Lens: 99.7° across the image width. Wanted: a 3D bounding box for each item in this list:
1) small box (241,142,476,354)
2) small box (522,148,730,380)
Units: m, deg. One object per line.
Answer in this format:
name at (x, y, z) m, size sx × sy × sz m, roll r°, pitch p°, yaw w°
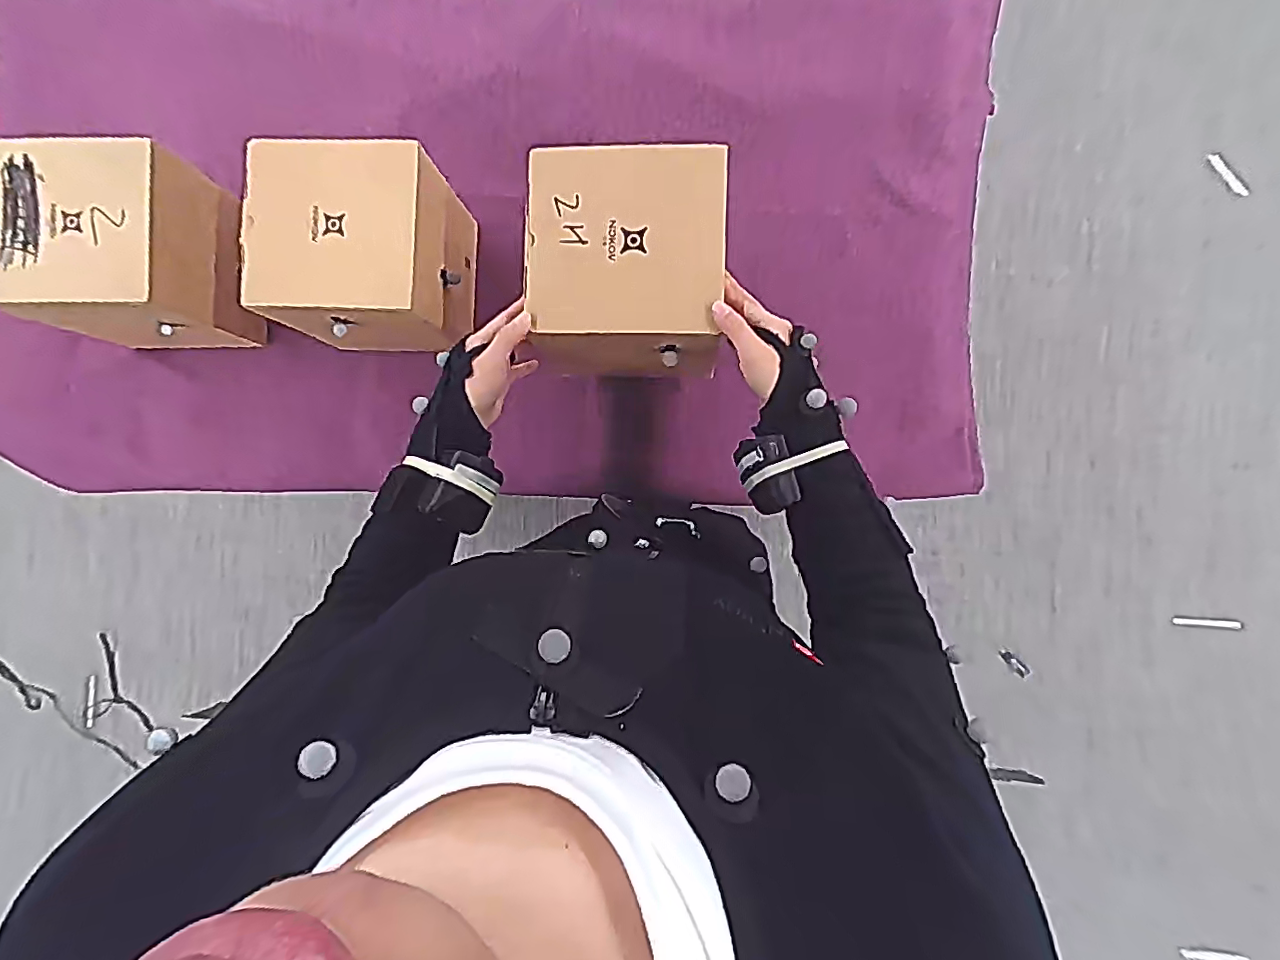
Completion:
small box at (-0.295, -0.243, 0.601) m, size 0.179 × 0.176 × 0.168 m, roll 2°, pitch 89°, yaw 4°
small box at (-0.008, -0.201, 0.543) m, size 0.179 × 0.176 × 0.168 m, roll 1°, pitch 87°, yaw 5°
